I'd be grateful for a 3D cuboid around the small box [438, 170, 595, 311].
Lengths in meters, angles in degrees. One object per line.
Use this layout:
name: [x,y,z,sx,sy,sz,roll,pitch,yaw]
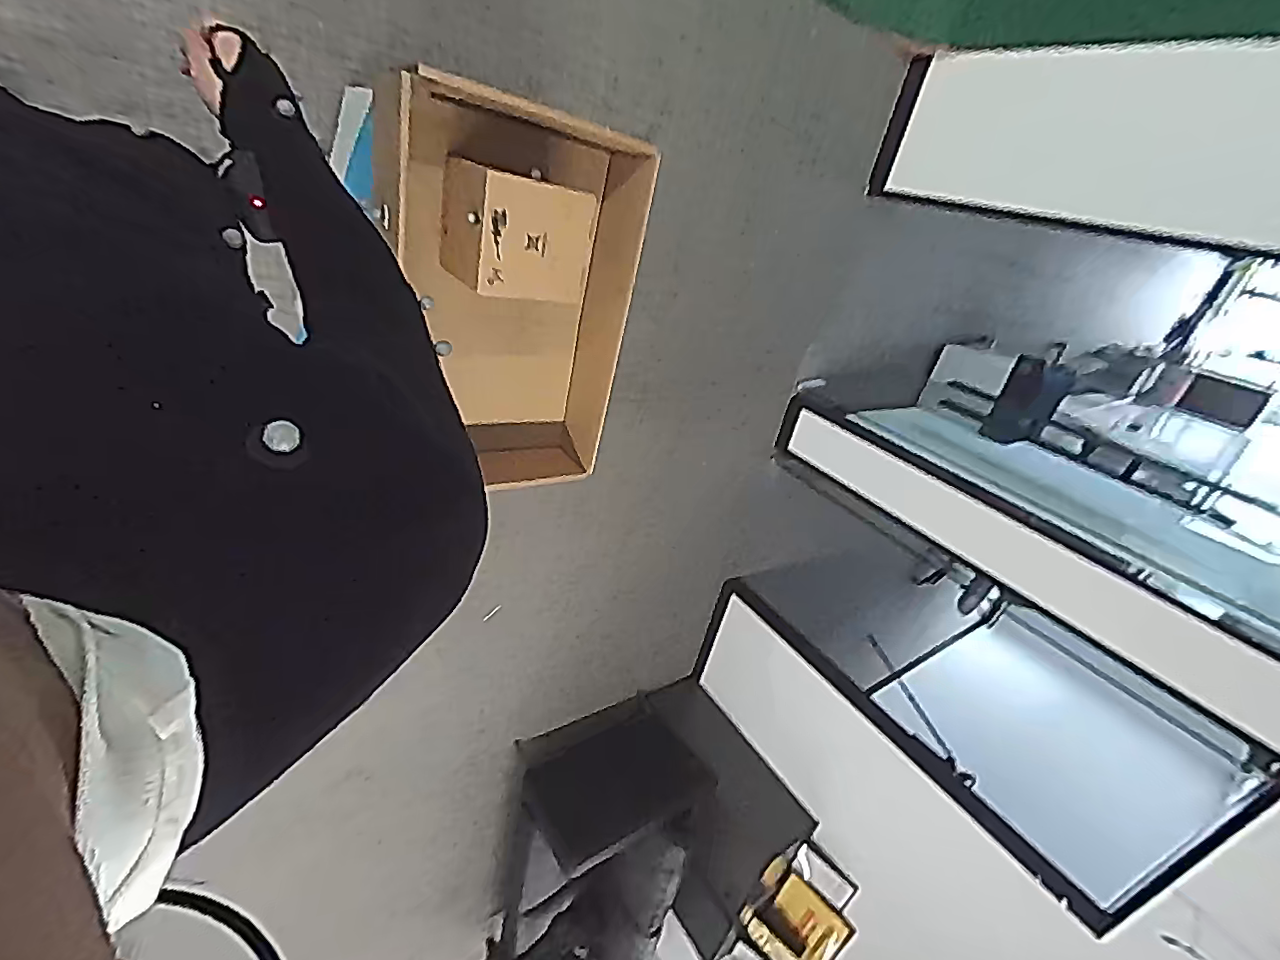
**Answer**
small box: [-0.201,-0.379,0.858,0.179,0.176,0.168,-8,124,-38]
